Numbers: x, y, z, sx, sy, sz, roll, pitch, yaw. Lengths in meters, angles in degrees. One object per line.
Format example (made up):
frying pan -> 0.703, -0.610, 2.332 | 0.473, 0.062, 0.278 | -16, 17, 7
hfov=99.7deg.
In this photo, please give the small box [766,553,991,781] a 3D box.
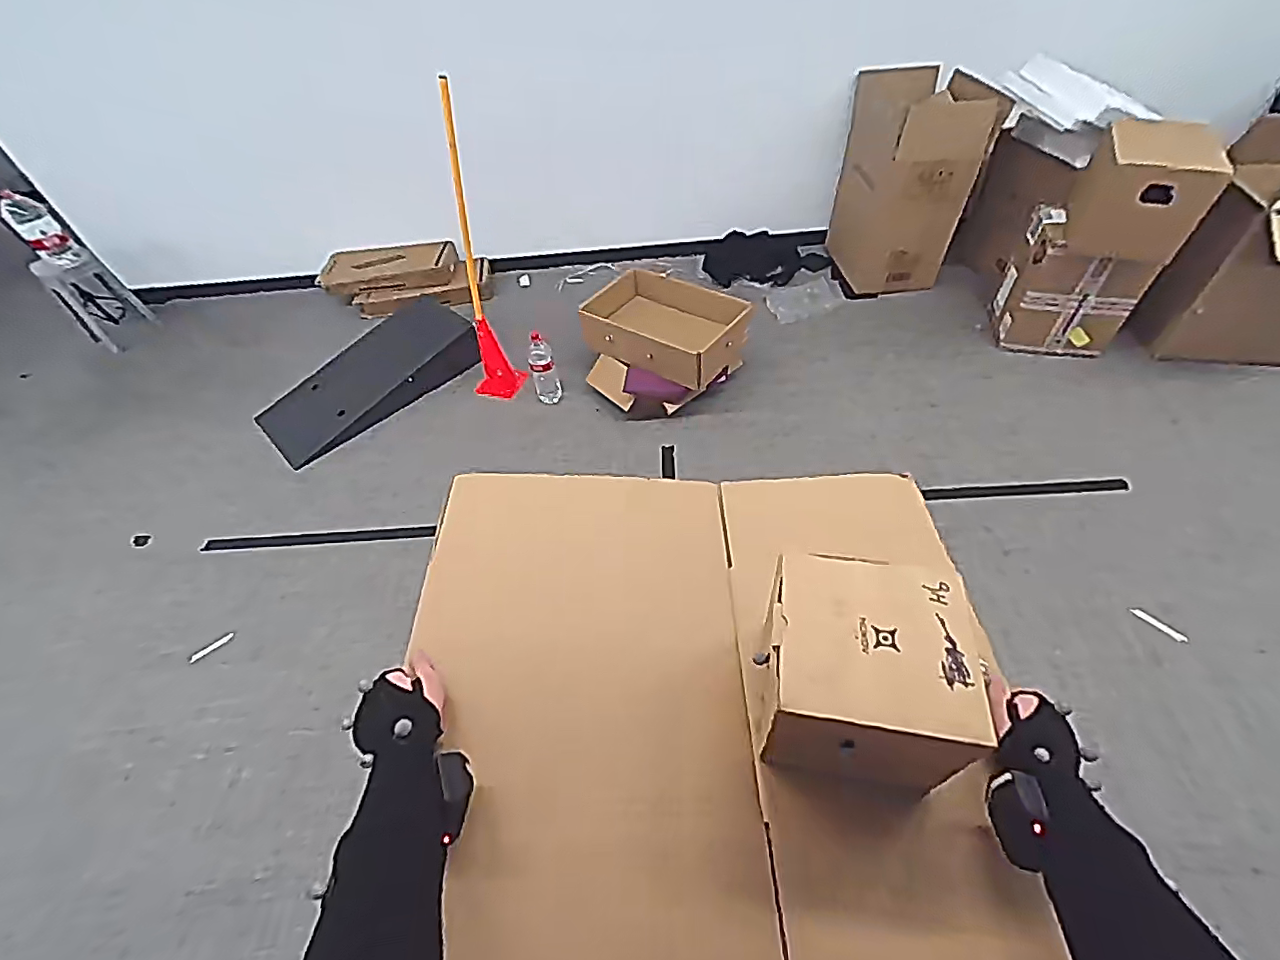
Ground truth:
small box -> 0.228, 0.198, 0.569 | 0.179, 0.176, 0.168 | 5, 51, 11
